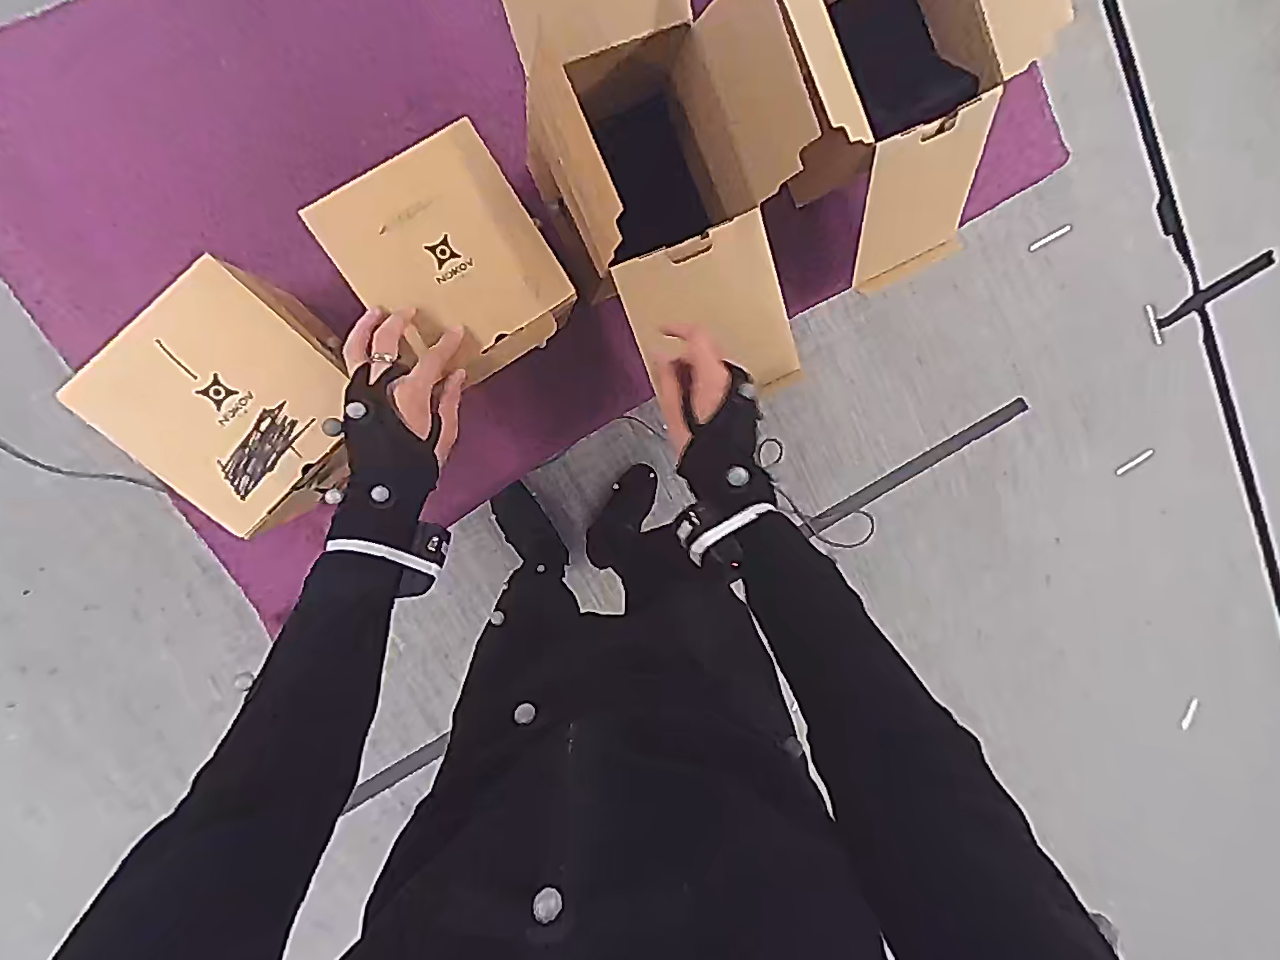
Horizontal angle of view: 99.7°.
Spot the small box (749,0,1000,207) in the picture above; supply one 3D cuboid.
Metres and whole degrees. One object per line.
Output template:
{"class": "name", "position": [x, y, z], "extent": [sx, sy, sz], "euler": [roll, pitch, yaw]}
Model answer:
{"class": "small box", "position": [0.249, -0.449, 0.610], "extent": [0.168, 0.176, 0.179], "euler": [-27, 101, -7]}
